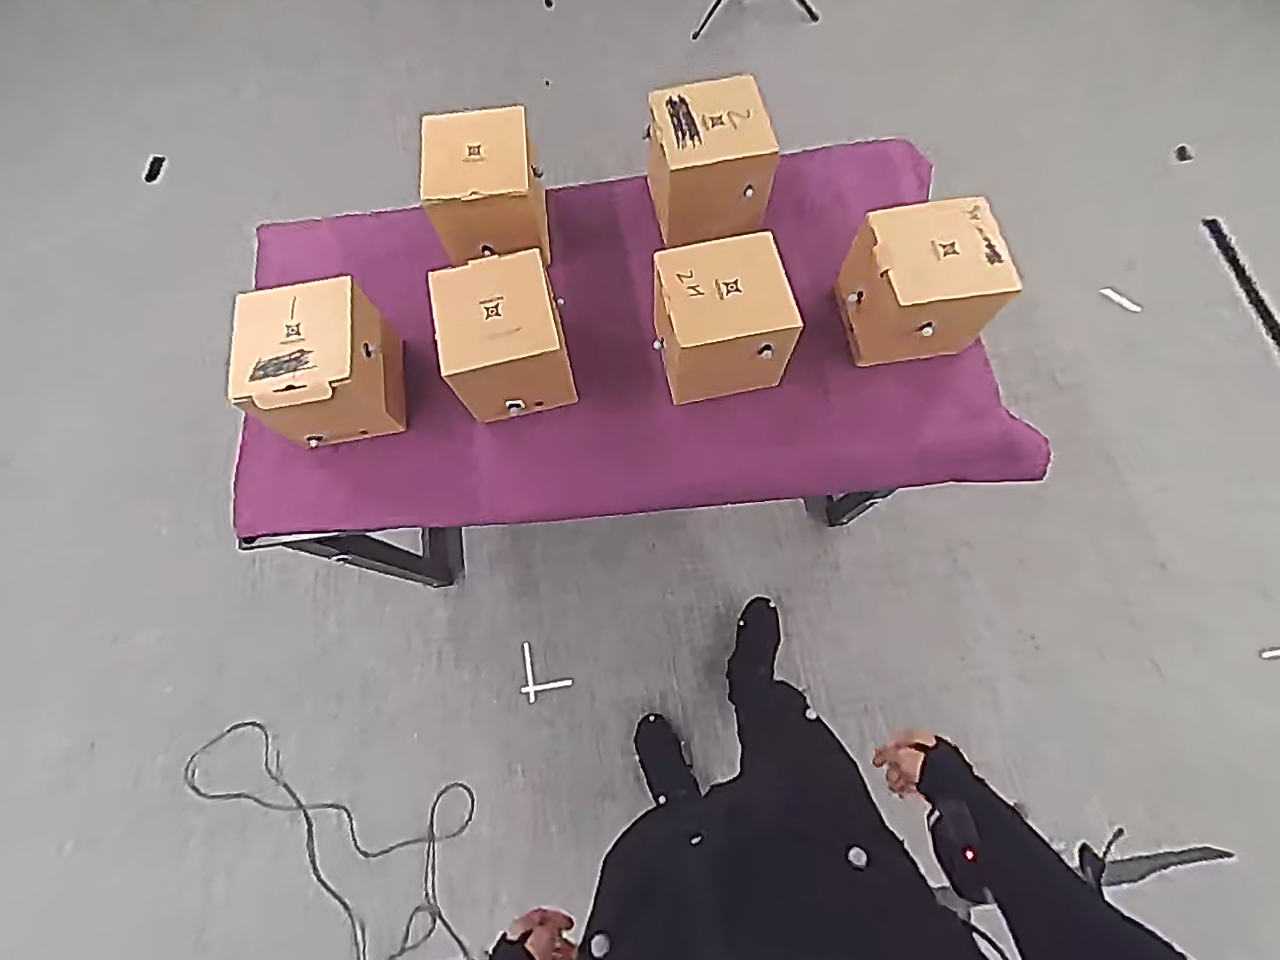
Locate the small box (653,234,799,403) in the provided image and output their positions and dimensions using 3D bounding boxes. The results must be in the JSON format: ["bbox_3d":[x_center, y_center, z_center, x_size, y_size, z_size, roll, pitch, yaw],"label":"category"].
[{"bbox_3d":[0.118,-0.236,0.823,0.179,0.176,0.168,-11,71,-1],"label":"small box"}]

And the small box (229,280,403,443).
[{"bbox_3d":[-0.477,-0.167,0.821,0.168,0.176,0.179,-10,71,-2],"label":"small box"}]

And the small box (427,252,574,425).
[{"bbox_3d":[-0.206,-0.209,0.827,0.168,0.176,0.179,-14,72,-1],"label":"small box"}]

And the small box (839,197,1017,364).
[{"bbox_3d":[0.421,-0.295,0.831,0.179,0.176,0.168,-8,73,1],"label":"small box"}]

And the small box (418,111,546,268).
[{"bbox_3d":[-0.257,-0.475,0.910,0.168,0.176,0.179,-6,73,-1],"label":"small box"}]
